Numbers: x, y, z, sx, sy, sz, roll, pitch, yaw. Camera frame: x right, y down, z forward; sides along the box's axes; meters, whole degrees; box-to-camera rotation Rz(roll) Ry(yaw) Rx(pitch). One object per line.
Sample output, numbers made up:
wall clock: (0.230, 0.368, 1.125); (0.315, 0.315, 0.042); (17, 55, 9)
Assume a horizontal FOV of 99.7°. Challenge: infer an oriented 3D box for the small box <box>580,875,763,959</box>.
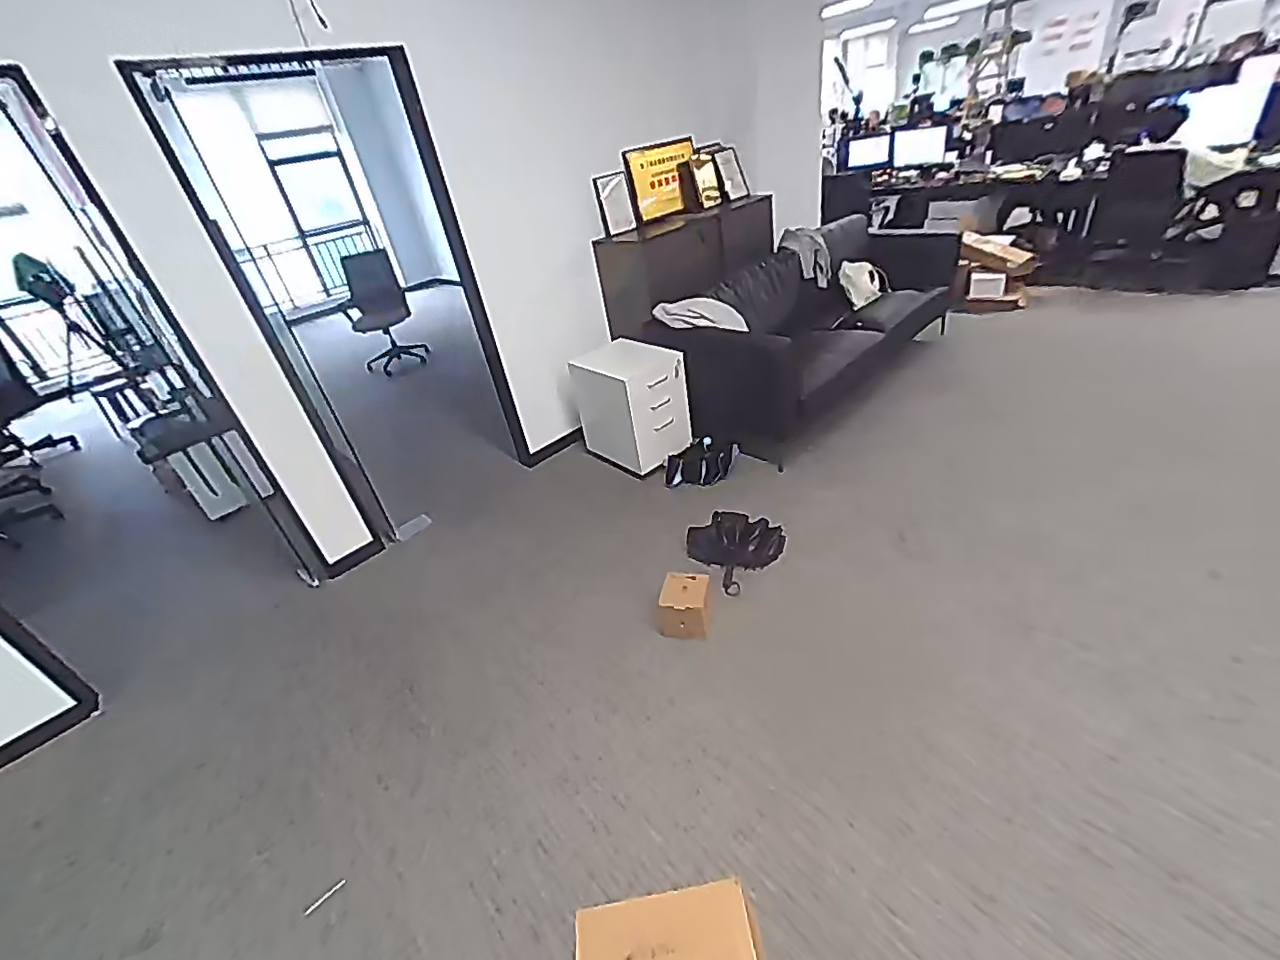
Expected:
small box: (0.044, 0.519, 0.517); (0.168, 0.176, 0.179); (-13, 37, 3)
